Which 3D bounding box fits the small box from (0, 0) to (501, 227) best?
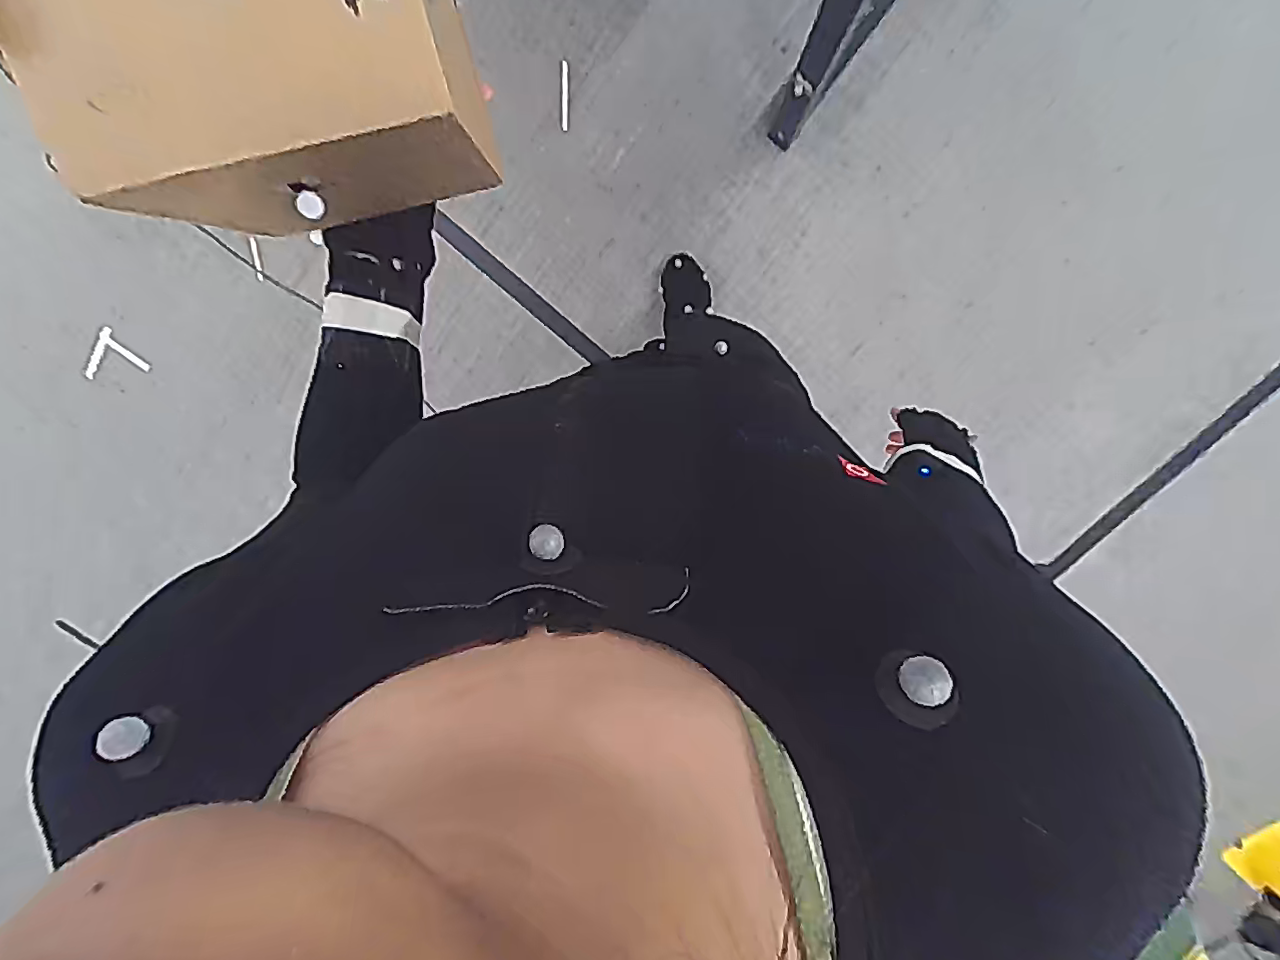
[{"bbox_3d":[-0.195,-0.252,0.293,0.179,0.176,0.168,-16,109,1],"label":"small box"}]
